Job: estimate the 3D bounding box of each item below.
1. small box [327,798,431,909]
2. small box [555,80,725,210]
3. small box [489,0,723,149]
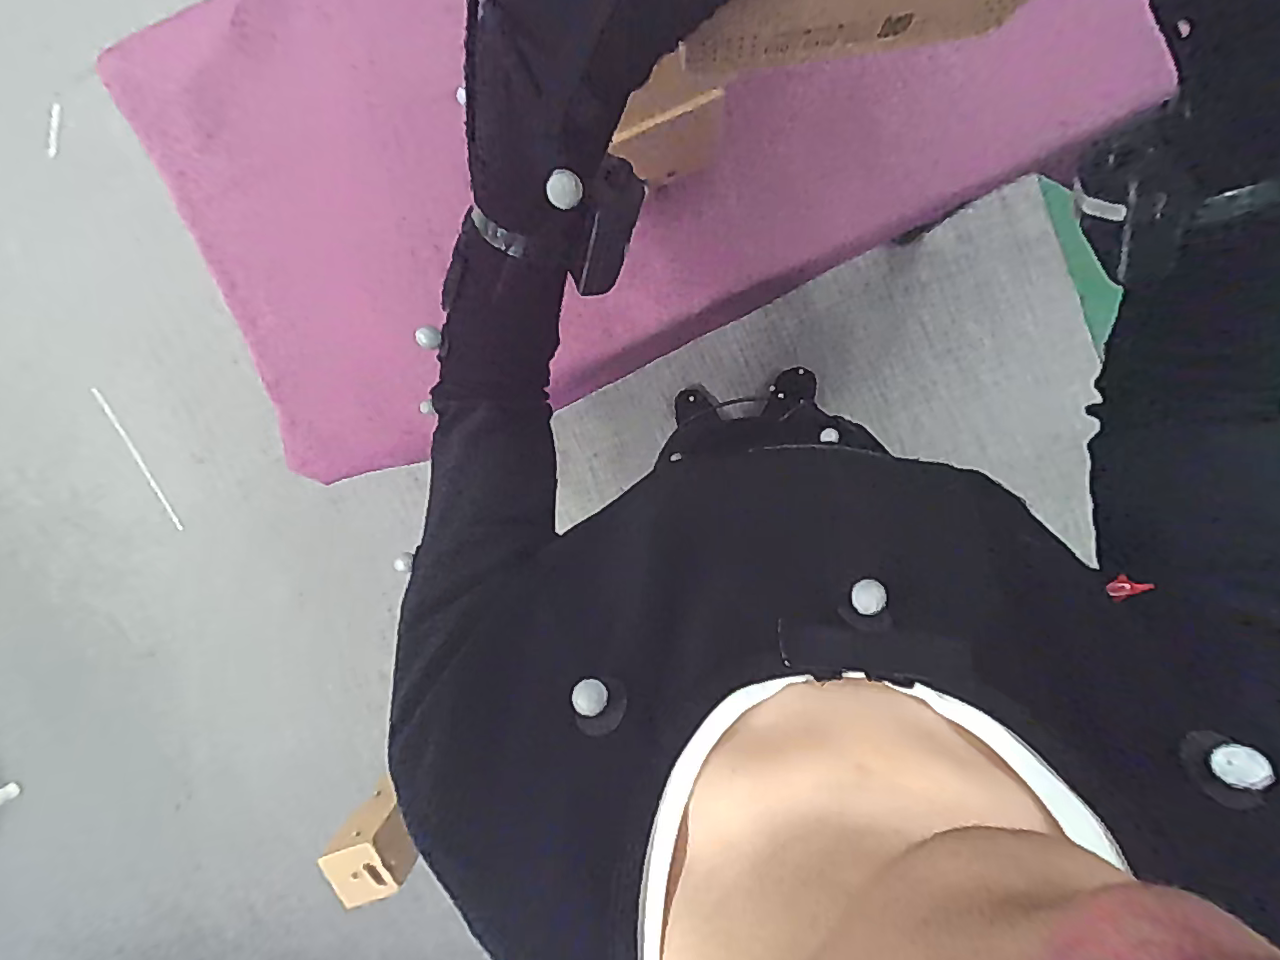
[{"bbox_3d":[-0.707,1.025,1.498,0.179,0.176,0.168,-25,97,10],"label":"small box"},{"bbox_3d":[-0.015,-0.430,0.588,0.168,0.176,0.179,-19,98,10],"label":"small box"},{"bbox_3d":[-0.027,-0.406,0.429,0.179,0.176,0.168,-20,97,9],"label":"small box"}]
